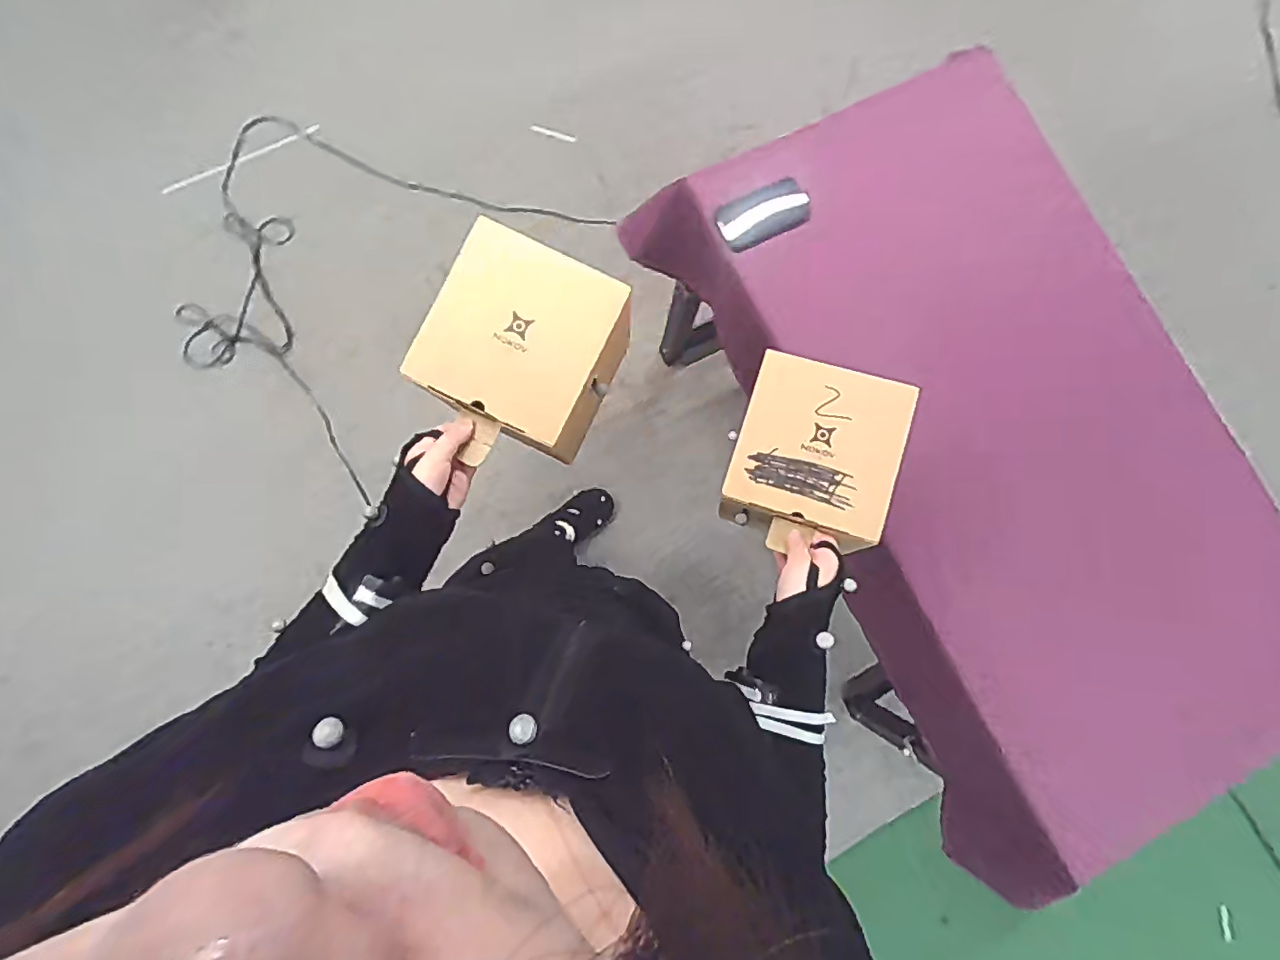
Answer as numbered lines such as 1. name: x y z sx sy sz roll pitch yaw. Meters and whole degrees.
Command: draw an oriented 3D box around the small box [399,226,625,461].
1. small box: -0.128 -0.135 0.605 0.168 0.176 0.179 25 87 -1
